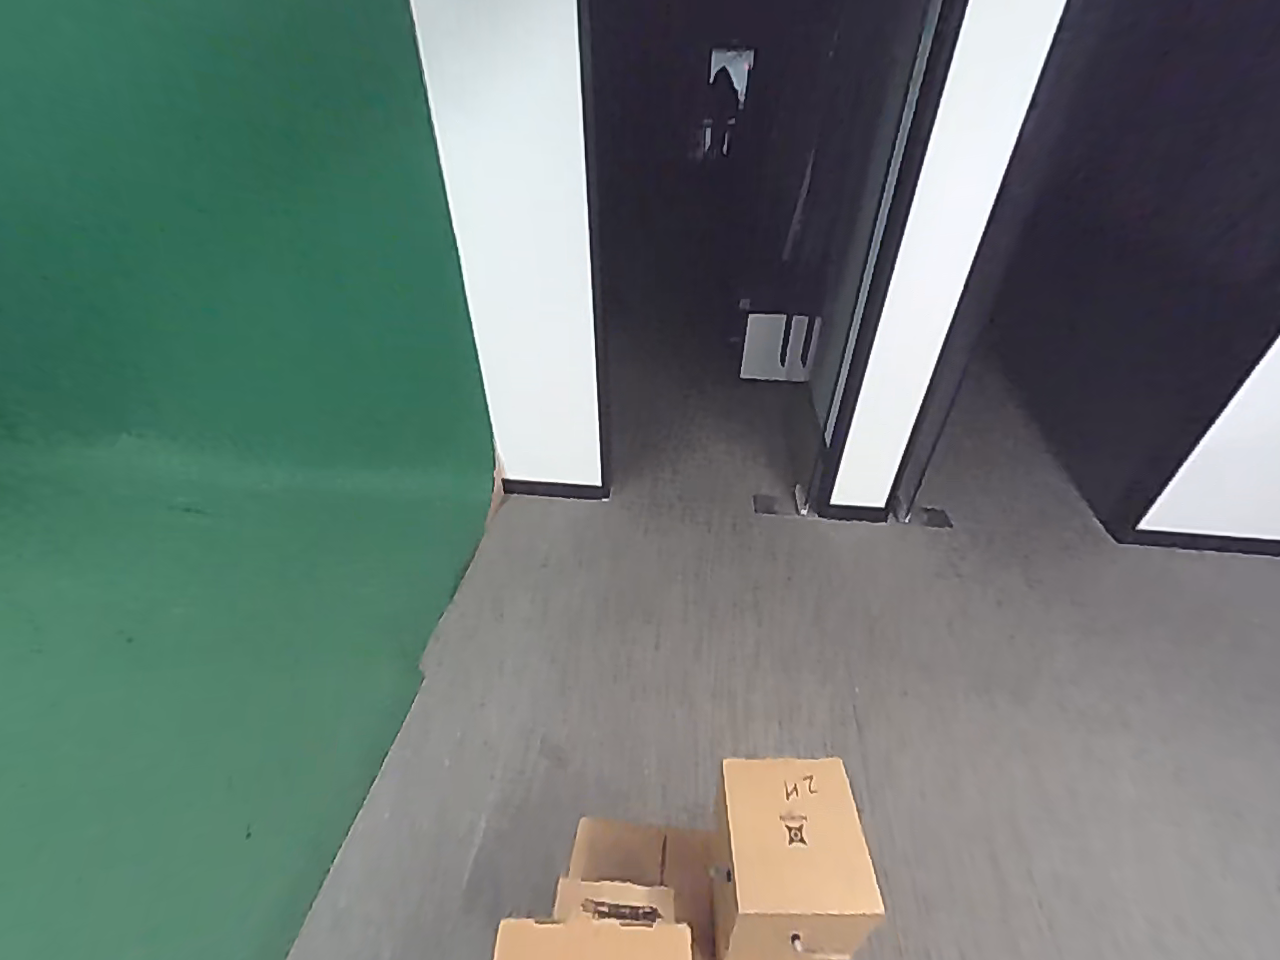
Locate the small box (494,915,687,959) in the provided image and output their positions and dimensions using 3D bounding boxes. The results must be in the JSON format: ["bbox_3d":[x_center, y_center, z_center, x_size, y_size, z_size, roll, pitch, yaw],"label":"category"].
[{"bbox_3d":[-0.042,0.502,0.463,0.168,0.176,0.179,0,41,2],"label":"small box"}]

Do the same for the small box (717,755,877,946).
[{"bbox_3d":[0.195,0.499,0.730,0.168,0.176,0.179,0,37,2],"label":"small box"}]
